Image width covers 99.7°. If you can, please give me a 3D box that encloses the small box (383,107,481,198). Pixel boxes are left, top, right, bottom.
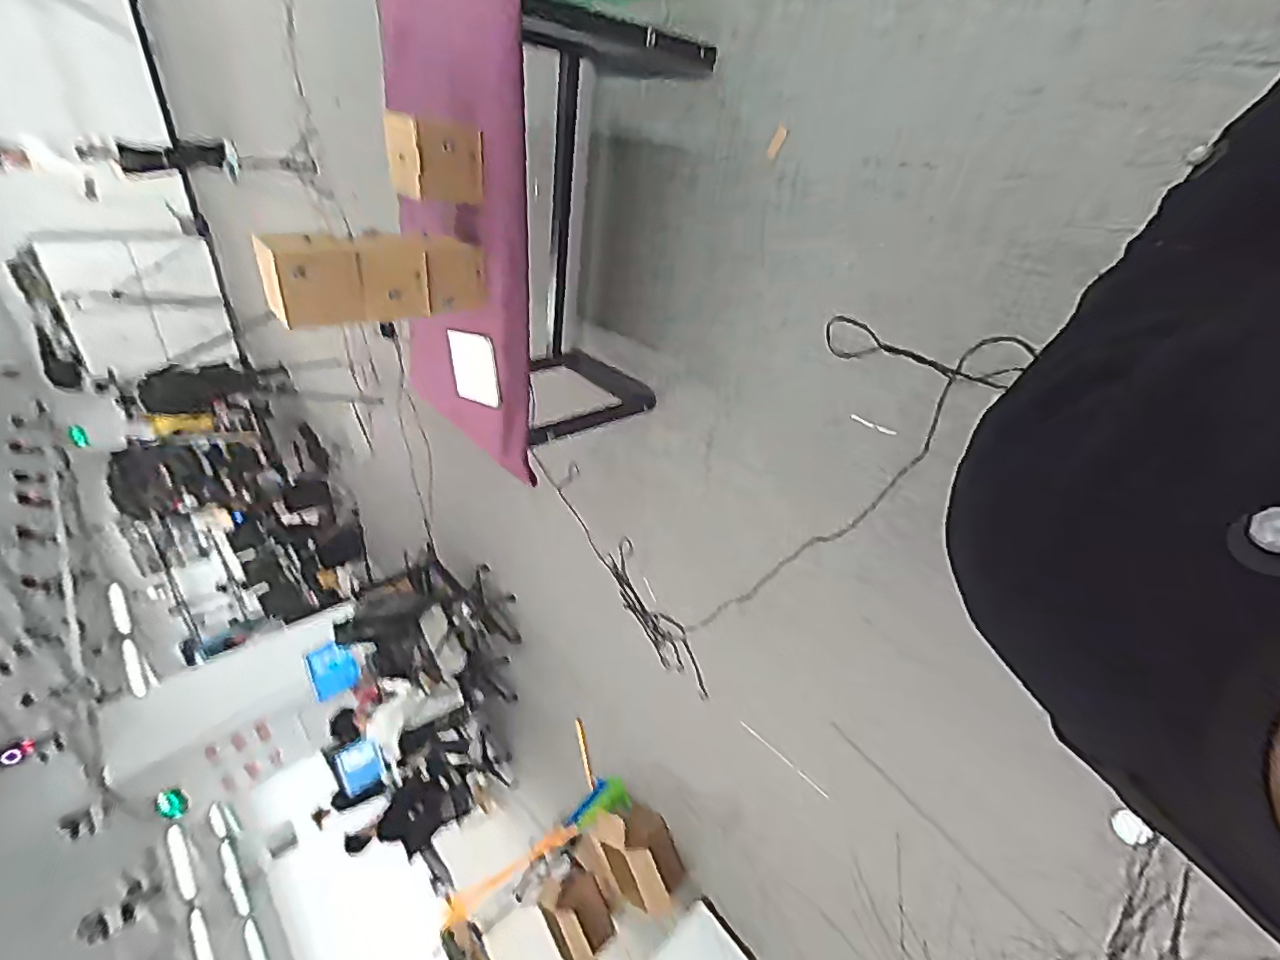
[{"bbox_3d":[-0.504,-0.800,1.329,0.179,0.176,0.168,37,131,34],"label":"small box"}]

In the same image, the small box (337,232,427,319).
[{"bbox_3d":[-0.653,-0.524,1.372,0.179,0.176,0.168,36,132,34],"label":"small box"}]

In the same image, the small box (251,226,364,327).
[{"bbox_3d":[-0.768,-0.479,1.261,0.168,0.176,0.179,39,134,33],"label":"small box"}]
